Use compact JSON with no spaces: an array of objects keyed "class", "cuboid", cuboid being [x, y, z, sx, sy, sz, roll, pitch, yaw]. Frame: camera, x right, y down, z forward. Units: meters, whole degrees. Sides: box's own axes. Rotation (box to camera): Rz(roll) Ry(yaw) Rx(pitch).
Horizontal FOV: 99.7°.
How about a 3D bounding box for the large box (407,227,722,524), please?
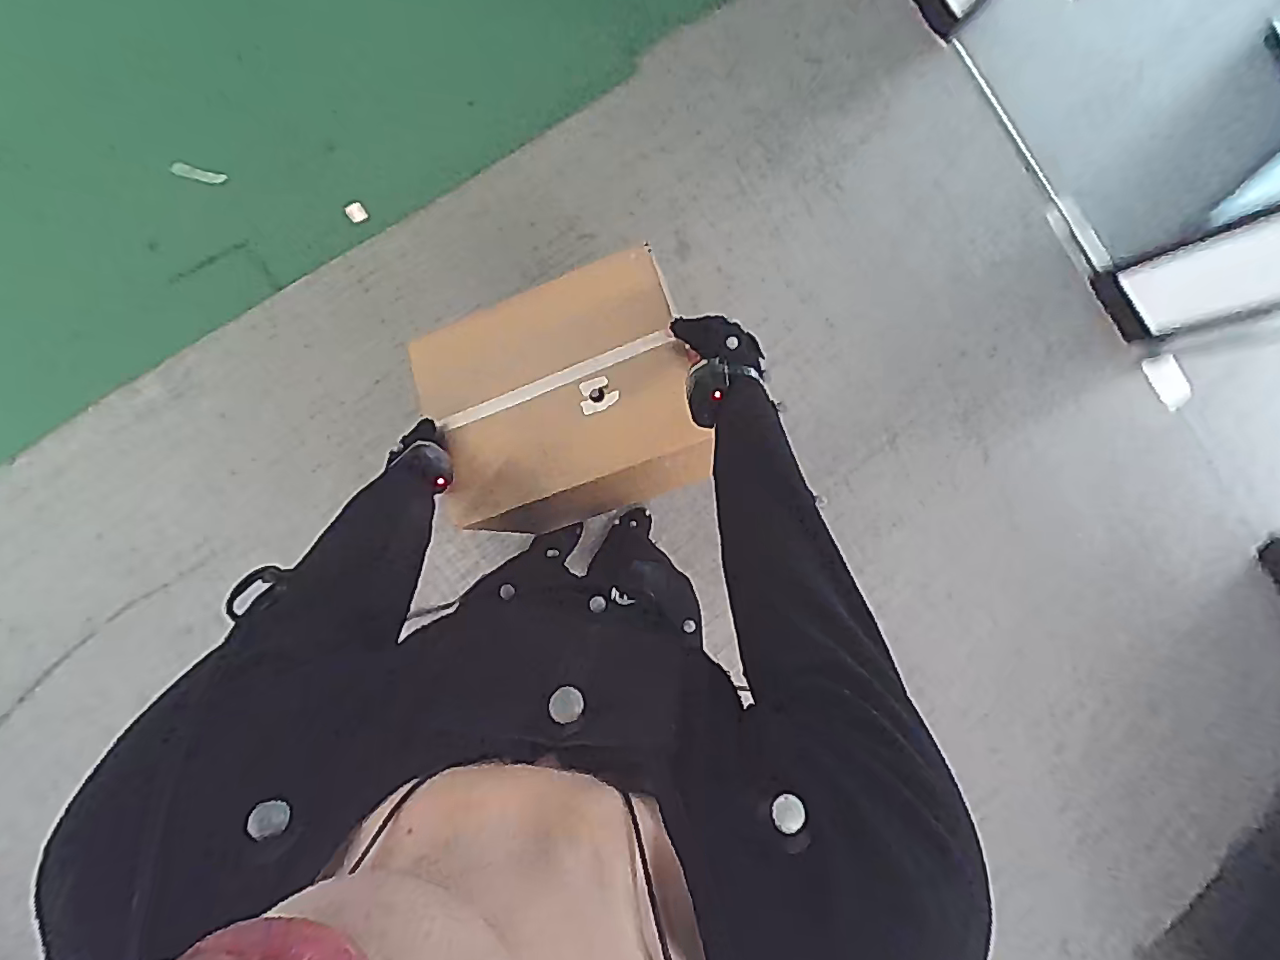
[{"class":"large box","cuboid":[-0.105,-0.139,0.930,0.408,0.320,0.320,-21,80,9]}]
